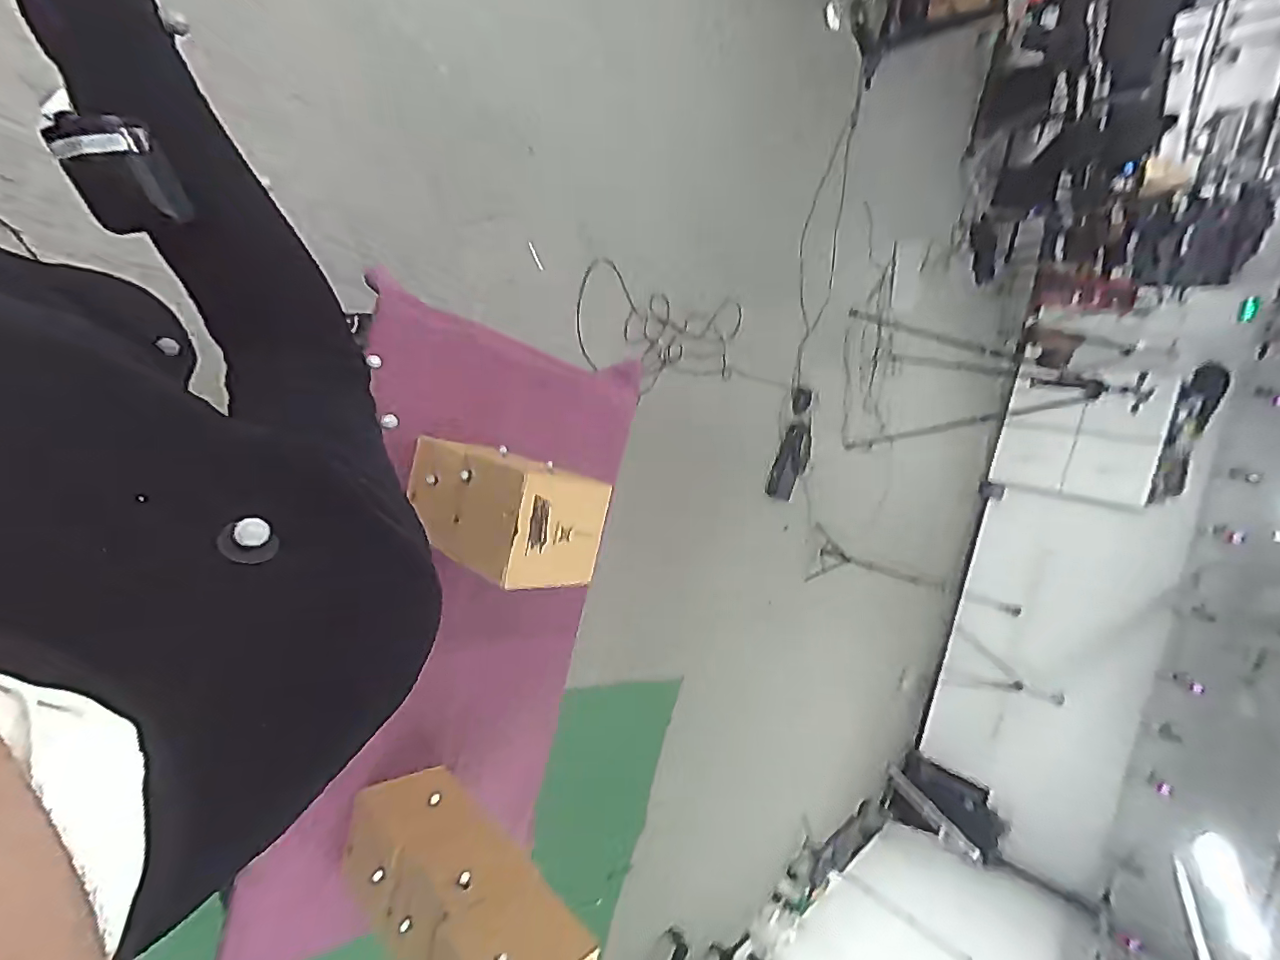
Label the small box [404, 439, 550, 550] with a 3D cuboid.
[{"bbox_3d":[-0.293,0.026,0.964,0.179,0.176,0.168,9,96,-49],"label":"small box"}]

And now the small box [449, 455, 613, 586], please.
[{"bbox_3d":[-0.175,0.062,0.855,0.179,0.176,0.168,10,95,-50],"label":"small box"}]

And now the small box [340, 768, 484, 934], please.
[{"bbox_3d":[-0.430,0.679,1.020,0.179,0.176,0.168,11,93,-50],"label":"small box"}]
